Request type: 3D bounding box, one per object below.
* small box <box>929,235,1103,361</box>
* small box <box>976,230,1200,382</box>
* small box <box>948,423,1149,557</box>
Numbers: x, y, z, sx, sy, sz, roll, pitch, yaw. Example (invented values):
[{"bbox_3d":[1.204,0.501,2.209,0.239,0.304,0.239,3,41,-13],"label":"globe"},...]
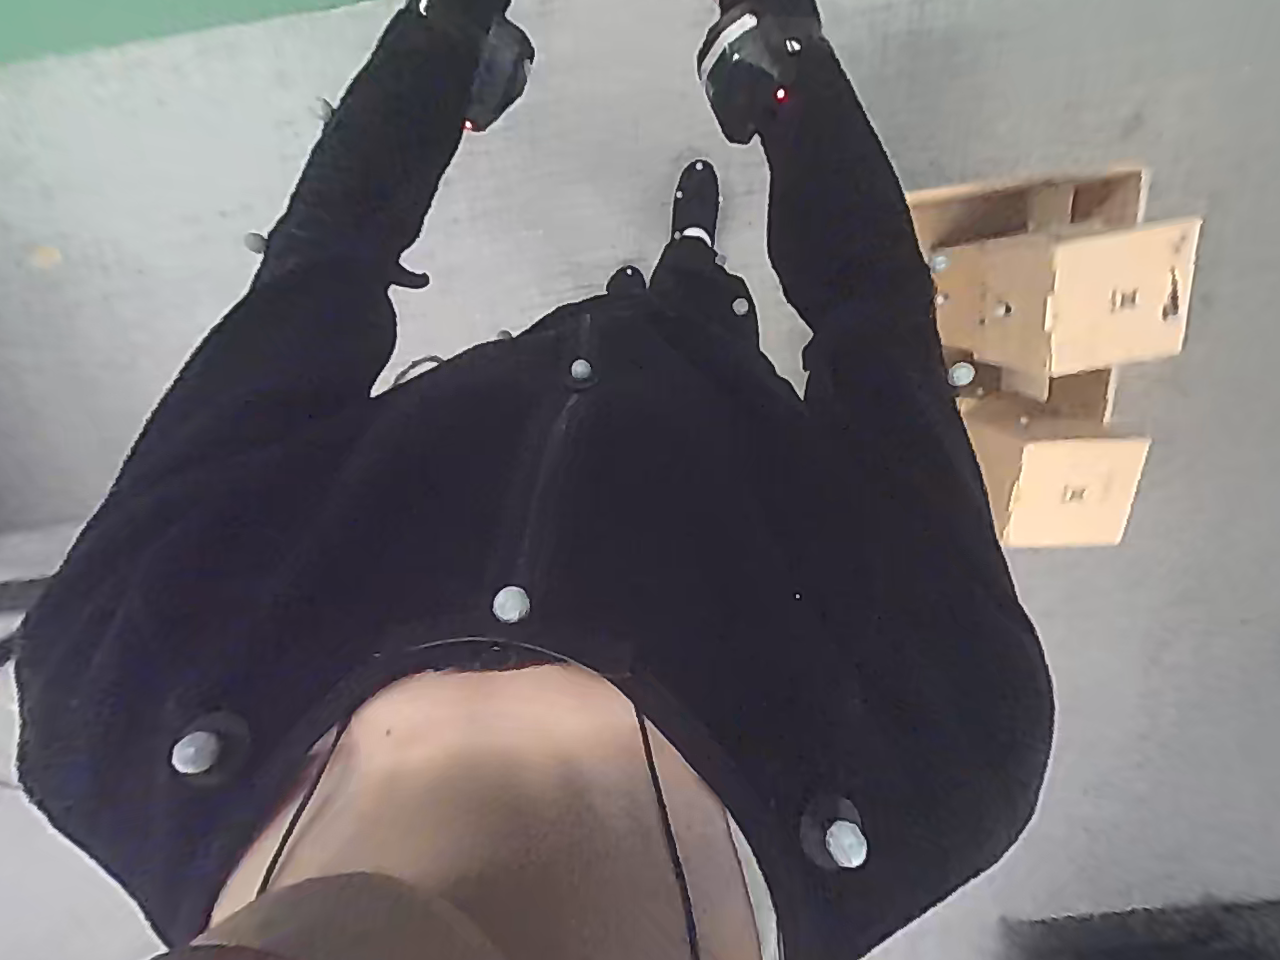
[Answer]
[{"bbox_3d":[0.619,-0.305,0.912,0.179,0.176,0.168,-10,108,2],"label":"small box"},{"bbox_3d":[0.607,-0.242,0.761,0.179,0.176,0.168,-9,110,3],"label":"small box"},{"bbox_3d":[0.621,0.010,0.851,0.179,0.176,0.168,-1,110,0],"label":"small box"}]
